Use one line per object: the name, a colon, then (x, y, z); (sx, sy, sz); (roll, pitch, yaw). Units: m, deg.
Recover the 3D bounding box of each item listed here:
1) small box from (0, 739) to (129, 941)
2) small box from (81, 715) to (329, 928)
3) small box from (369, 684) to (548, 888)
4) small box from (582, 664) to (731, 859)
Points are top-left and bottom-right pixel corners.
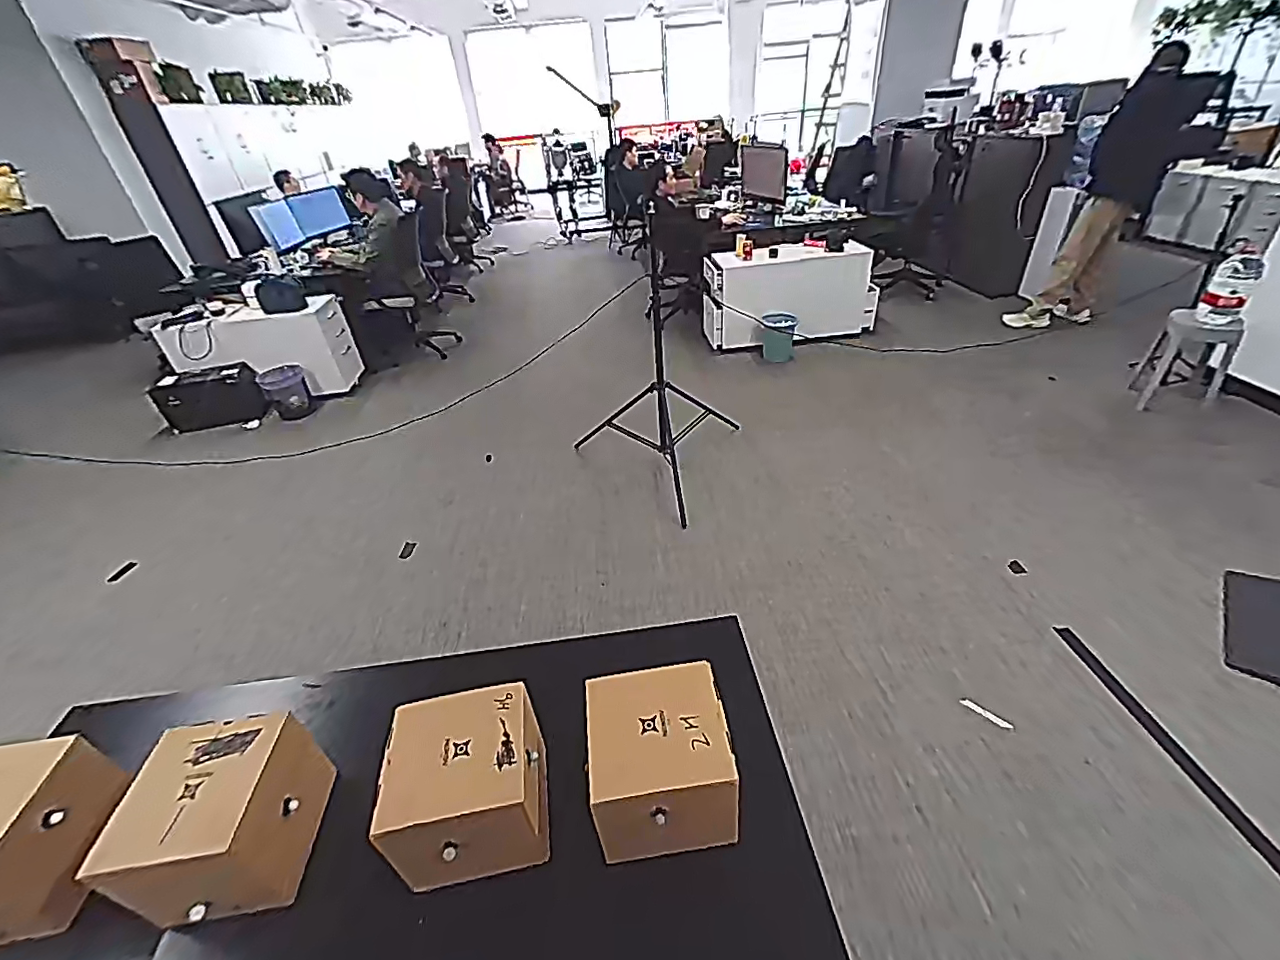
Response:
small box: (-0.829, 0.478, 0.708); (0.168, 0.176, 0.179); (-7, 34, -5)
small box: (-0.544, 0.446, 0.715); (0.168, 0.176, 0.179); (-8, 35, -3)
small box: (-0.228, 0.410, 0.726); (0.179, 0.176, 0.168); (-10, 35, -6)
small box: (0.021, 0.380, 0.732); (0.179, 0.176, 0.168); (-8, 35, -3)
